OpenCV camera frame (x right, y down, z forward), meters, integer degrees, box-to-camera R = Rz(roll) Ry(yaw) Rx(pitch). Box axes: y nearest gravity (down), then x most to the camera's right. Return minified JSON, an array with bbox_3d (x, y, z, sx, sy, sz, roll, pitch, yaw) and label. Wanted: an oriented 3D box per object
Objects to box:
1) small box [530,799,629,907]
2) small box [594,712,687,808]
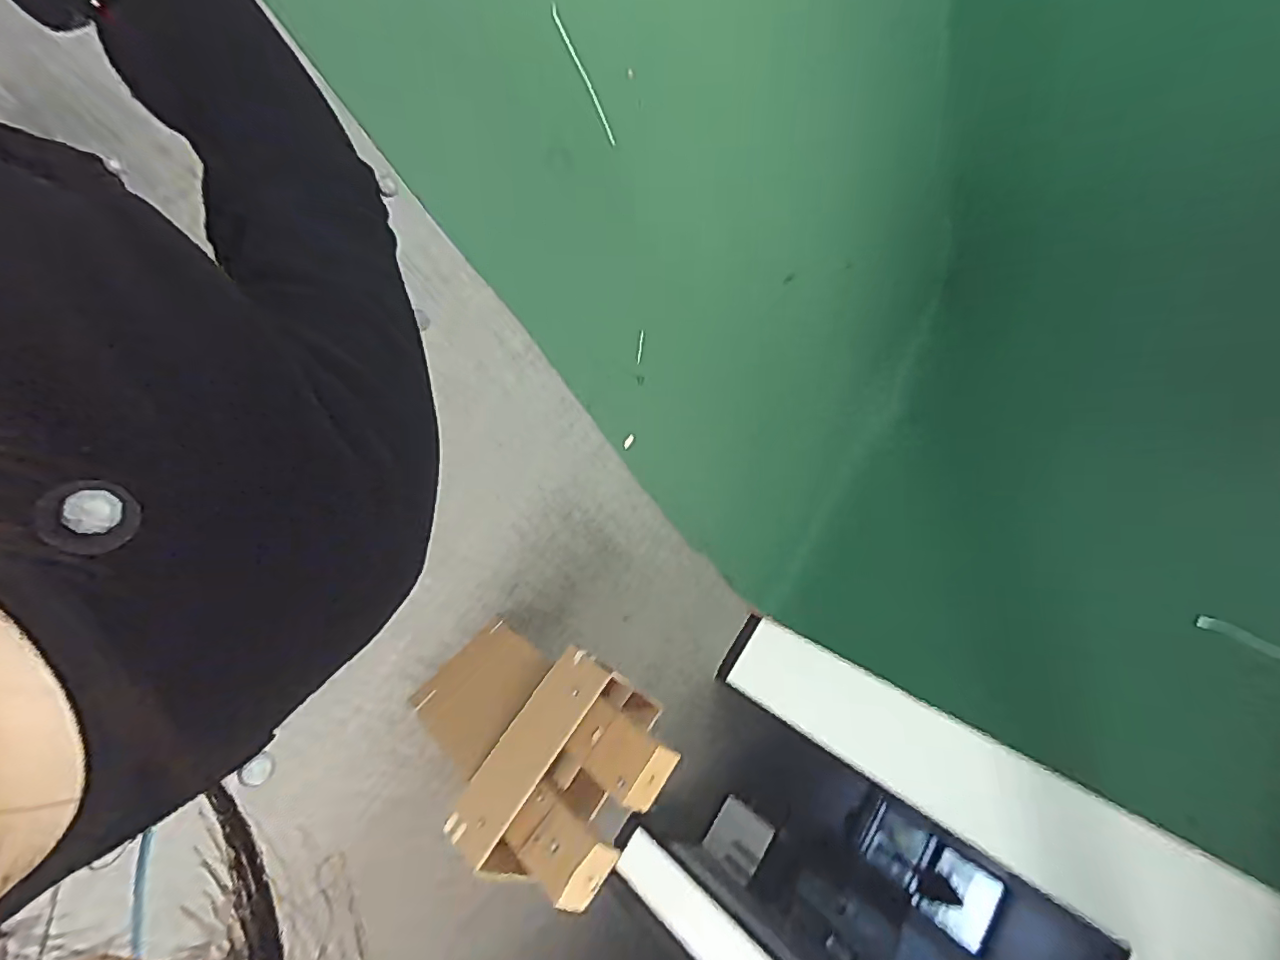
[{"bbox_3d":[-0.169,1.018,1.485,0.168,0.176,0.179,-48,135,-19],"label":"small box"},{"bbox_3d":[0.000,0.805,1.566,0.179,0.176,0.168,-53,137,-13],"label":"small box"}]
